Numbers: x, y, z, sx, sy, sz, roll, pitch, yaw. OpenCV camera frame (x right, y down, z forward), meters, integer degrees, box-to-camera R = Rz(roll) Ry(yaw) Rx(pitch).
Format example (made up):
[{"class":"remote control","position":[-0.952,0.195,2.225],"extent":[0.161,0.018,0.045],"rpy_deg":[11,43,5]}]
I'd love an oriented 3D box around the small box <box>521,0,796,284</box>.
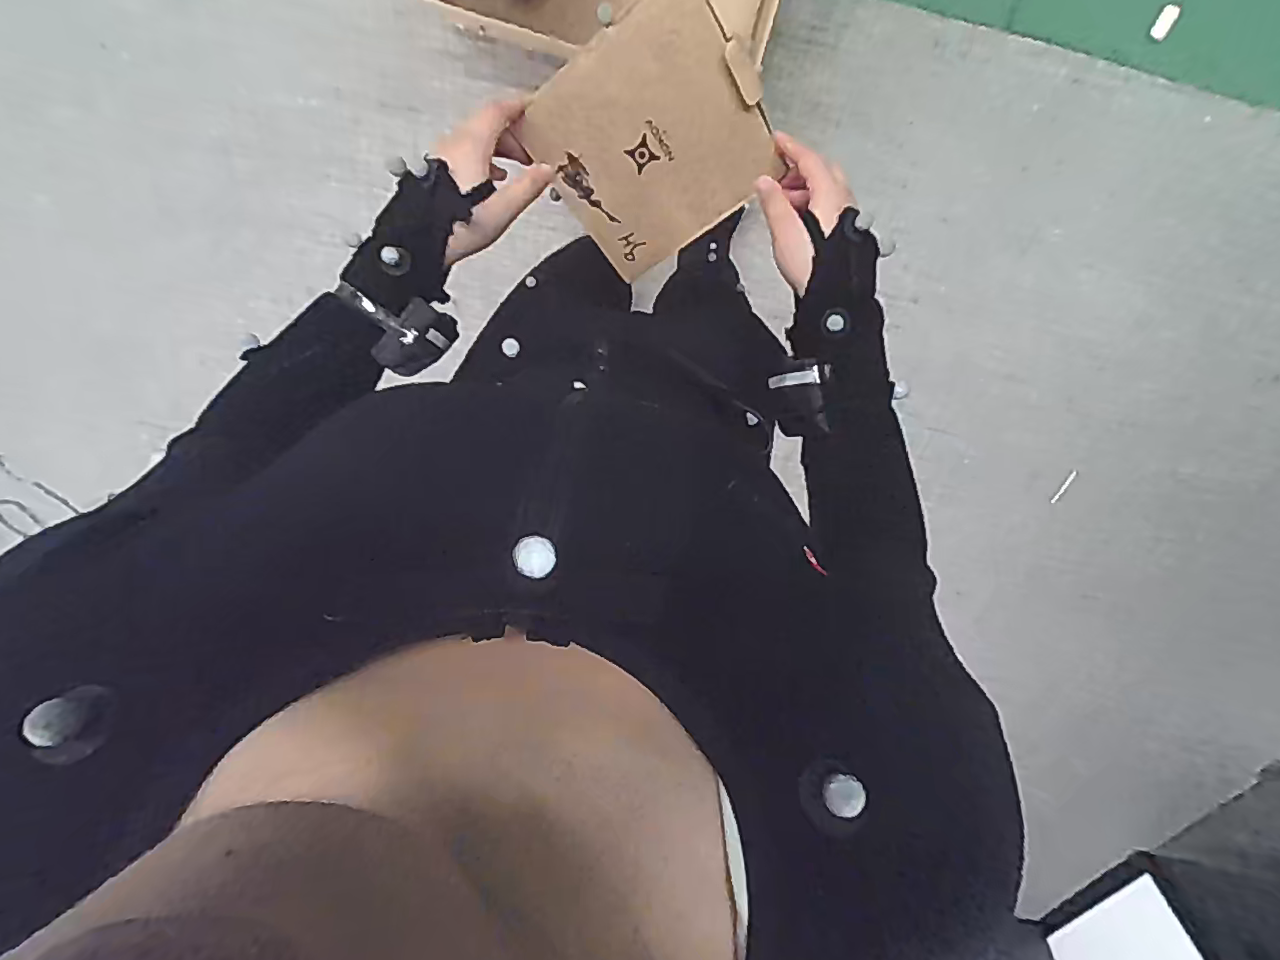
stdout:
[{"class":"small box","position":[0.017,-0.328,0.504],"extent":[0.179,0.176,0.168],"rpy_deg":[-27,126,24]}]
